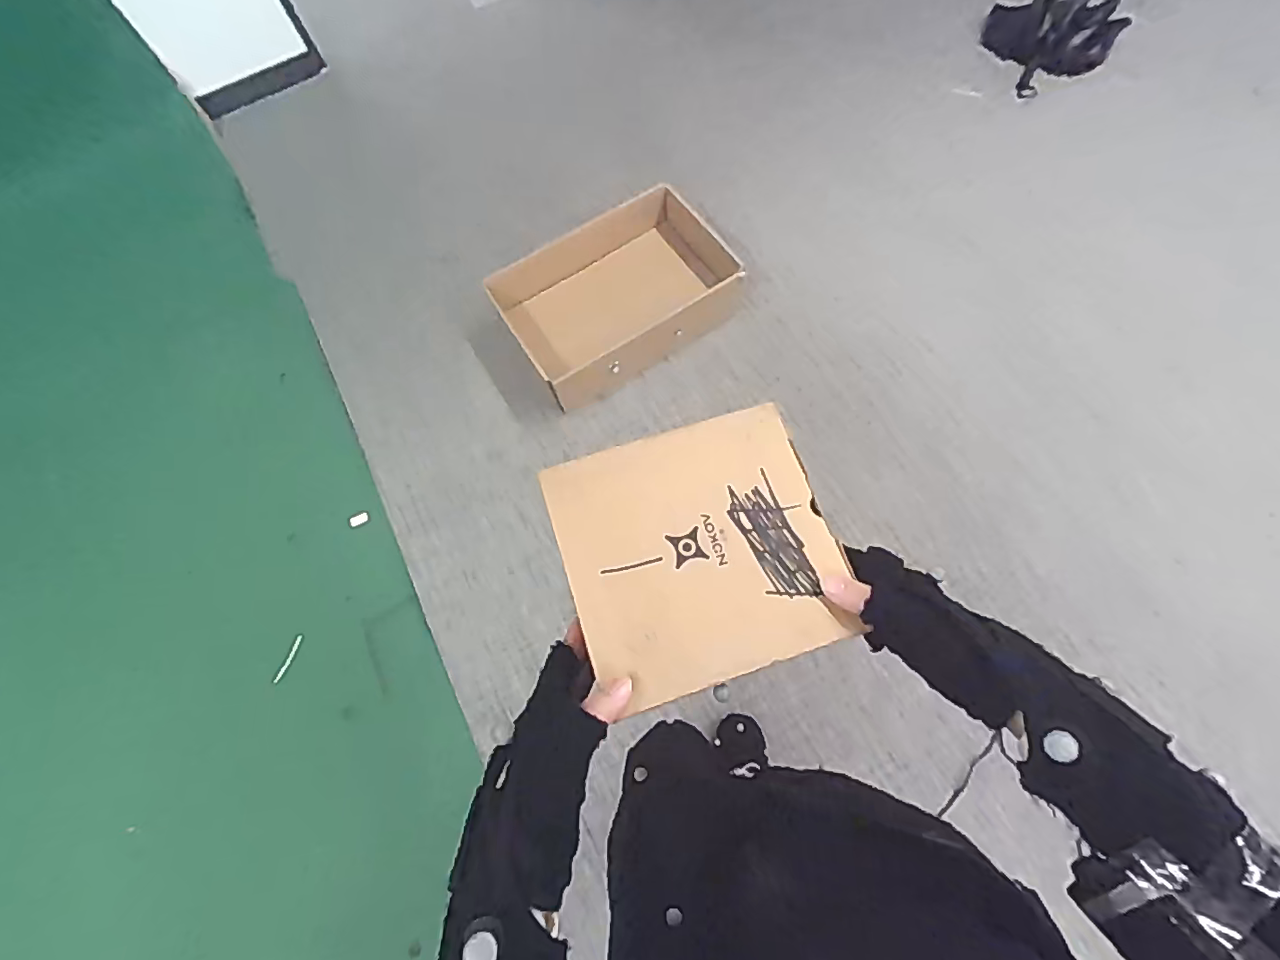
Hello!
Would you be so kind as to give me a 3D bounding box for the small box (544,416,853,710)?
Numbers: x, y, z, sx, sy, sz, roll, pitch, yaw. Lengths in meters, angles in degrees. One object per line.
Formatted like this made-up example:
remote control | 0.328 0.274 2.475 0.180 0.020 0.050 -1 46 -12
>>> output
small box | 0.033 0.074 0.444 0.179 0.176 0.168 -16 70 -8
